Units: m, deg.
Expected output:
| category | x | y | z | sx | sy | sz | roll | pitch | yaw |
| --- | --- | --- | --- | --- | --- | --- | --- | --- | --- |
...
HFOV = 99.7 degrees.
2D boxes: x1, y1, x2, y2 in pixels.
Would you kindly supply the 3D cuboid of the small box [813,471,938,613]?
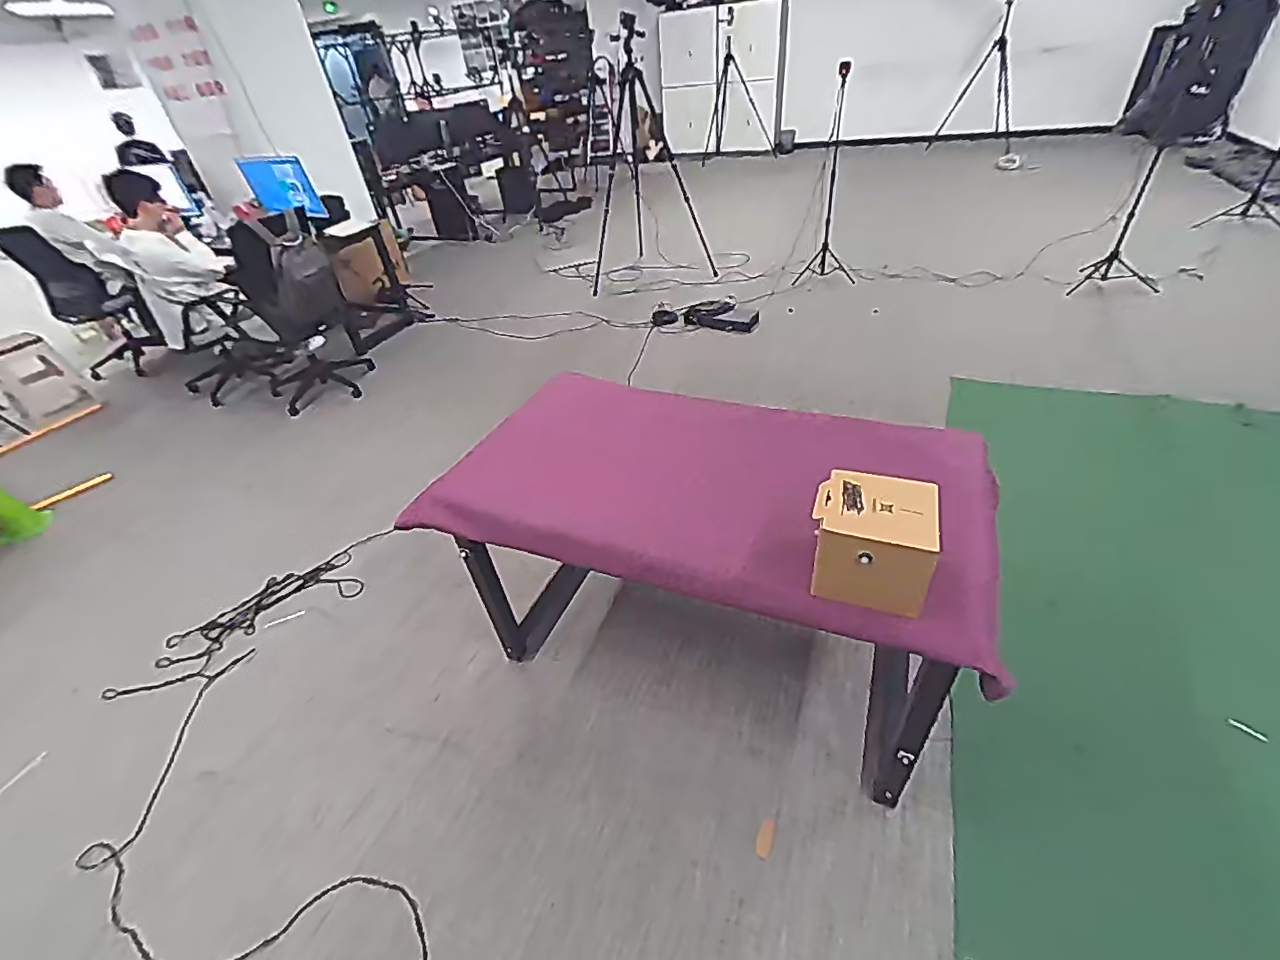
| category | x | y | z | sx | sy | sz | roll | pitch | yaw |
| --- | --- | --- | --- | --- | --- | --- | --- | --- | --- |
| small box | 0.409 | 0.109 | 0.951 | 0.179 | 0.176 | 0.168 | 10 | 42 | 21 |
